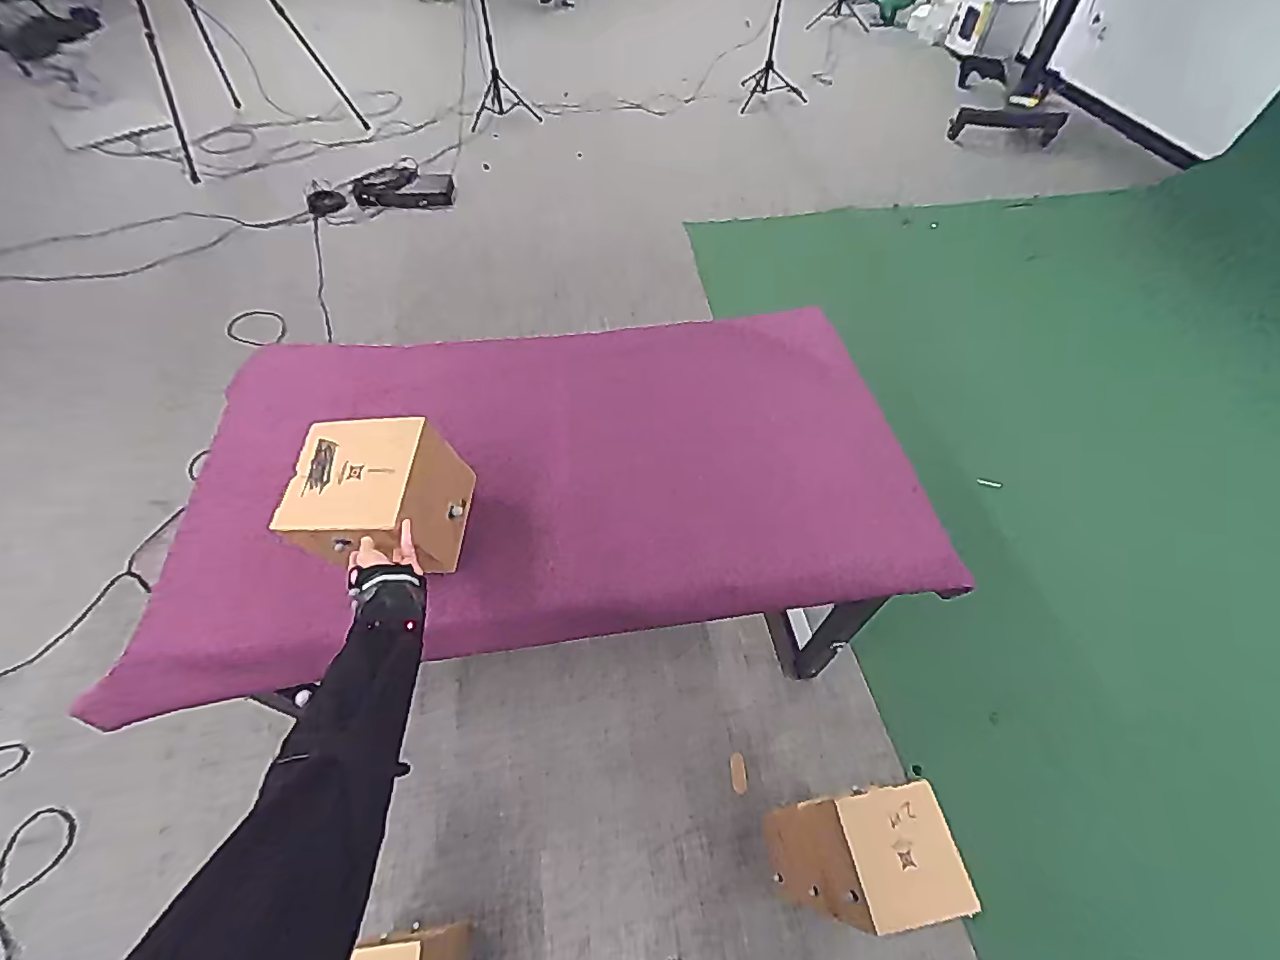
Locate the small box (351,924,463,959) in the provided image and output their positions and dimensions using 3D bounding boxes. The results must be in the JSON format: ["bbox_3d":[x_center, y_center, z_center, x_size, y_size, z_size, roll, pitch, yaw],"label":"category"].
[{"bbox_3d":[-0.440,0.966,1.019,0.168,0.176,0.179,-4,55,-4],"label":"small box"}]

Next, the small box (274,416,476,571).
[{"bbox_3d":[-0.364,0.027,0.780,0.179,0.176,0.168,-2,59,8],"label":"small box"}]

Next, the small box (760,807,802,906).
[{"bbox_3d":[0.367,0.797,1.159,0.179,0.176,0.168,-6,55,-6],"label":"small box"}]

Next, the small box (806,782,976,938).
[{"bbox_3d":[0.396,0.615,0.889,0.168,0.176,0.179,-7,56,-7],"label":"small box"}]

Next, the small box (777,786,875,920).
[{"bbox_3d":[0.376,0.704,1.027,0.168,0.176,0.179,-8,56,-7],"label":"small box"}]
